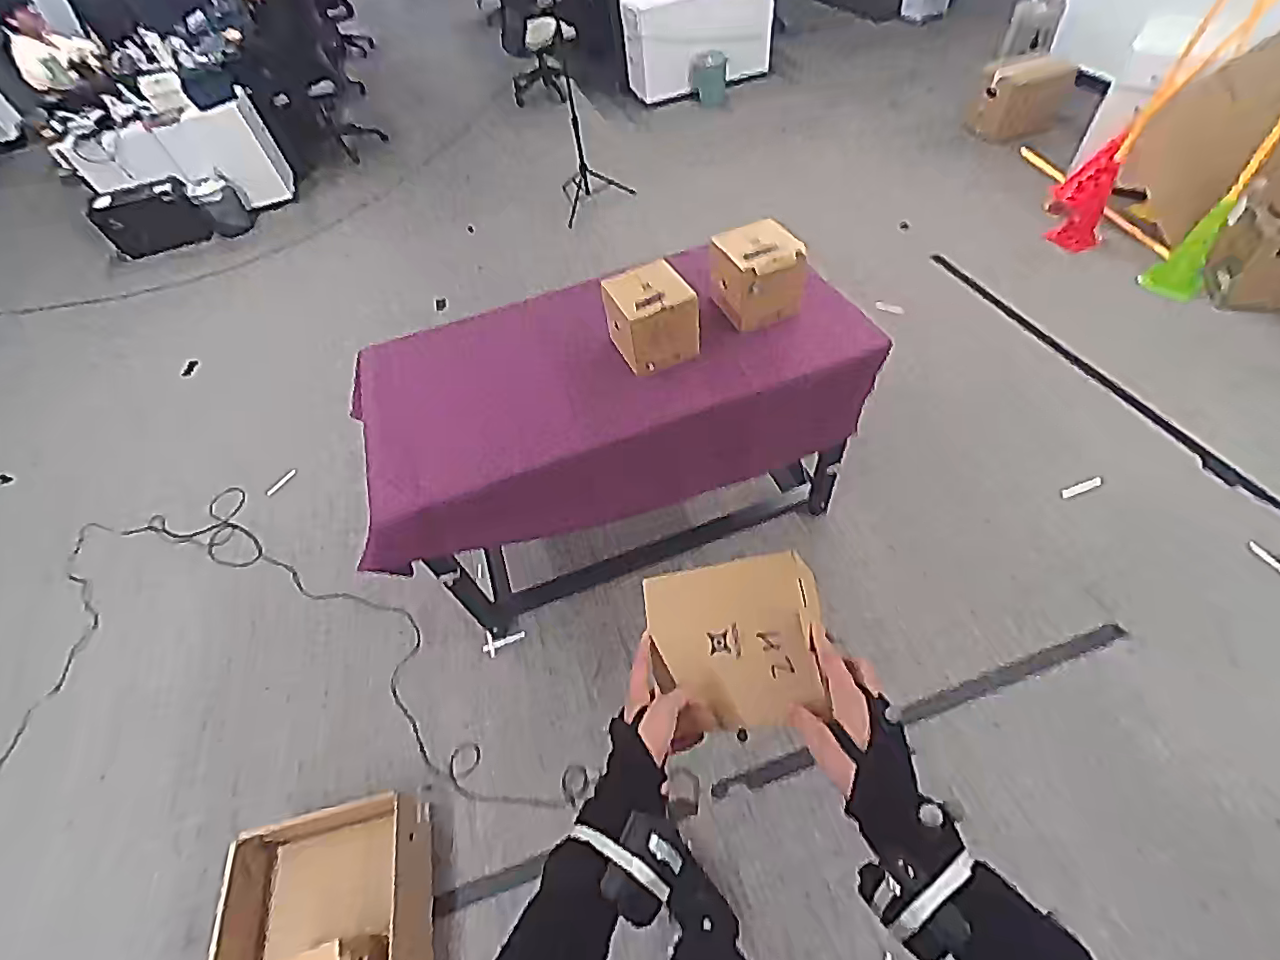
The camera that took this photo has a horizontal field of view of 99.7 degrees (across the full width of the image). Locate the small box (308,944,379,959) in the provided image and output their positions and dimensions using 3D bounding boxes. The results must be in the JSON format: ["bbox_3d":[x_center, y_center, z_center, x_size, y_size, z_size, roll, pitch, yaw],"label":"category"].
[{"bbox_3d":[-0.662,1.097,1.122,0.179,0.176,0.168,-19,51,-6],"label":"small box"}]

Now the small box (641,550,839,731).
[{"bbox_3d":[0.119,0.192,0.629,0.179,0.176,0.168,-15,67,19],"label":"small box"}]

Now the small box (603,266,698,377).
[{"bbox_3d":[0.030,-0.366,1.278,0.168,0.176,0.179,-23,53,-10],"label":"small box"}]
